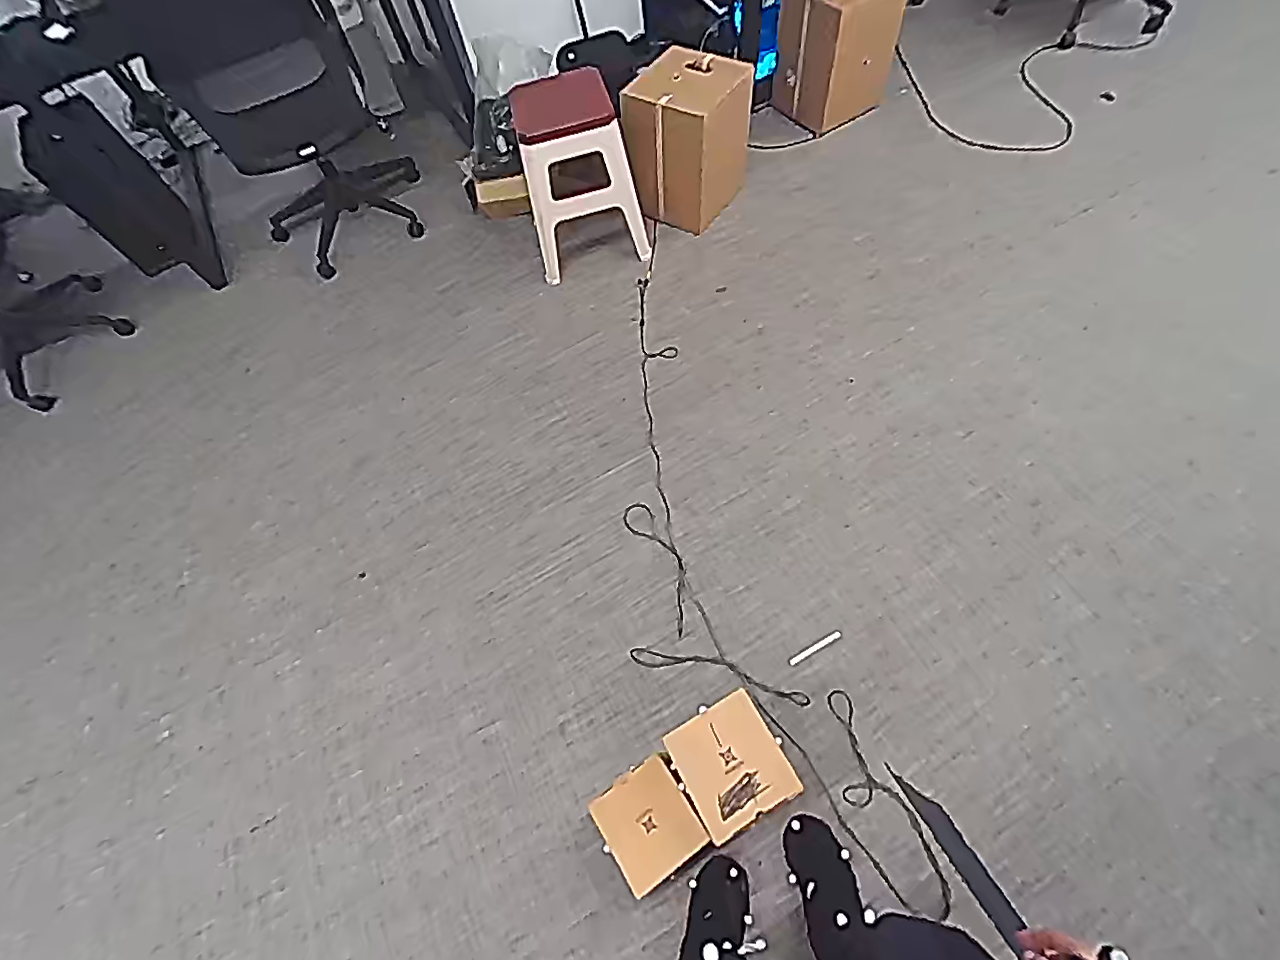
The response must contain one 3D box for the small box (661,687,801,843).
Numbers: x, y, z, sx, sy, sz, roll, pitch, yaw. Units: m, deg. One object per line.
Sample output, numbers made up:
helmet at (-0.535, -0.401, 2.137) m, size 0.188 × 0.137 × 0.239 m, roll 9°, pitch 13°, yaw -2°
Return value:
small box at (0.154, 0.490, 0.942) m, size 0.168 × 0.176 × 0.179 m, roll -28°, pitch 62°, yaw -8°
